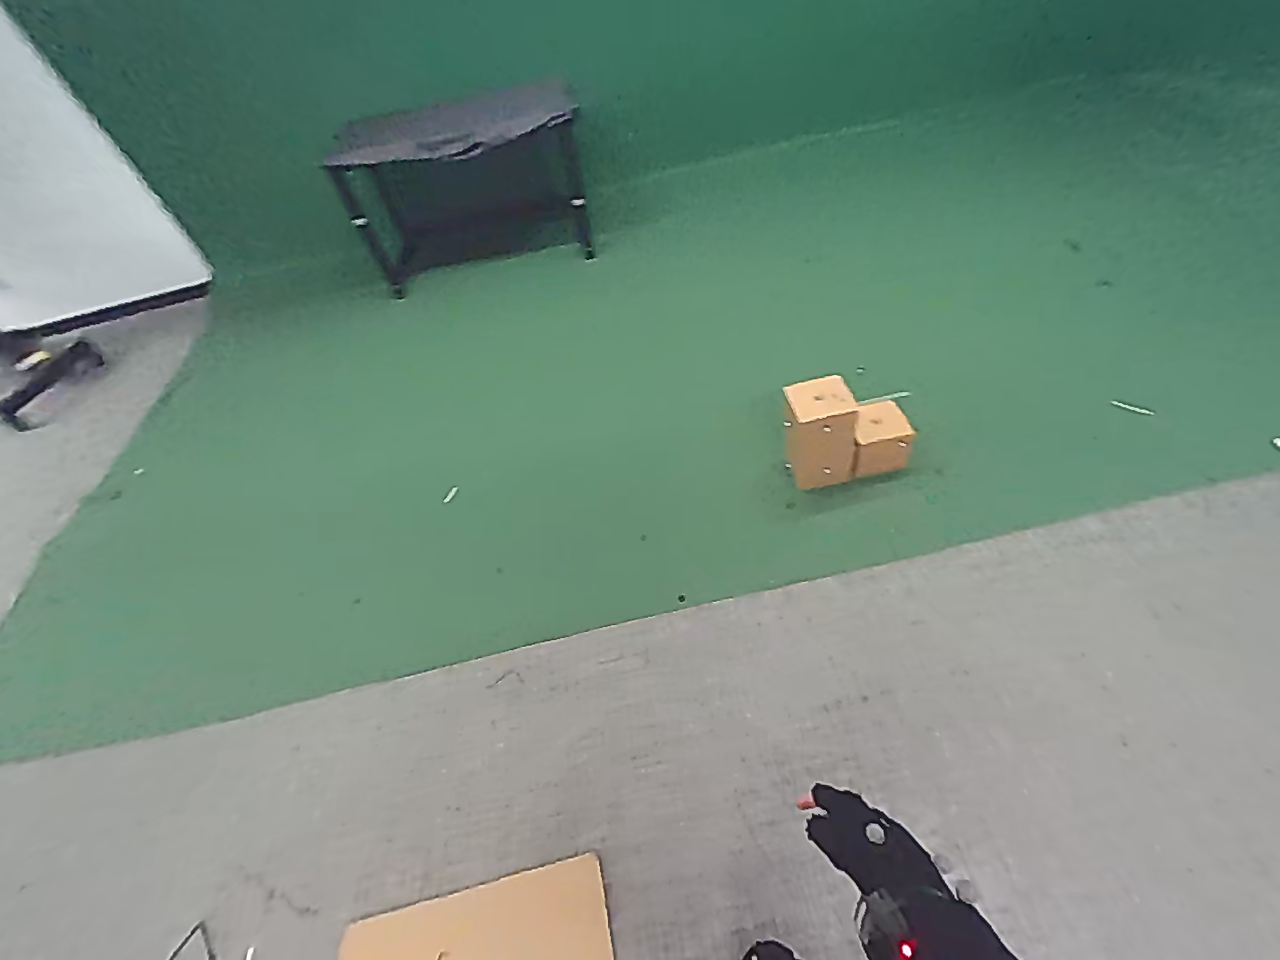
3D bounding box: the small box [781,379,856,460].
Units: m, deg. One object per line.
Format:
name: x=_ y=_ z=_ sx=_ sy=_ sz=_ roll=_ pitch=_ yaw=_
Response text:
small box: x=0.547 y=-0.181 z=1.675 sx=0.179 sy=0.176 sz=0.168 roll=-12 pitch=49 yaw=3
